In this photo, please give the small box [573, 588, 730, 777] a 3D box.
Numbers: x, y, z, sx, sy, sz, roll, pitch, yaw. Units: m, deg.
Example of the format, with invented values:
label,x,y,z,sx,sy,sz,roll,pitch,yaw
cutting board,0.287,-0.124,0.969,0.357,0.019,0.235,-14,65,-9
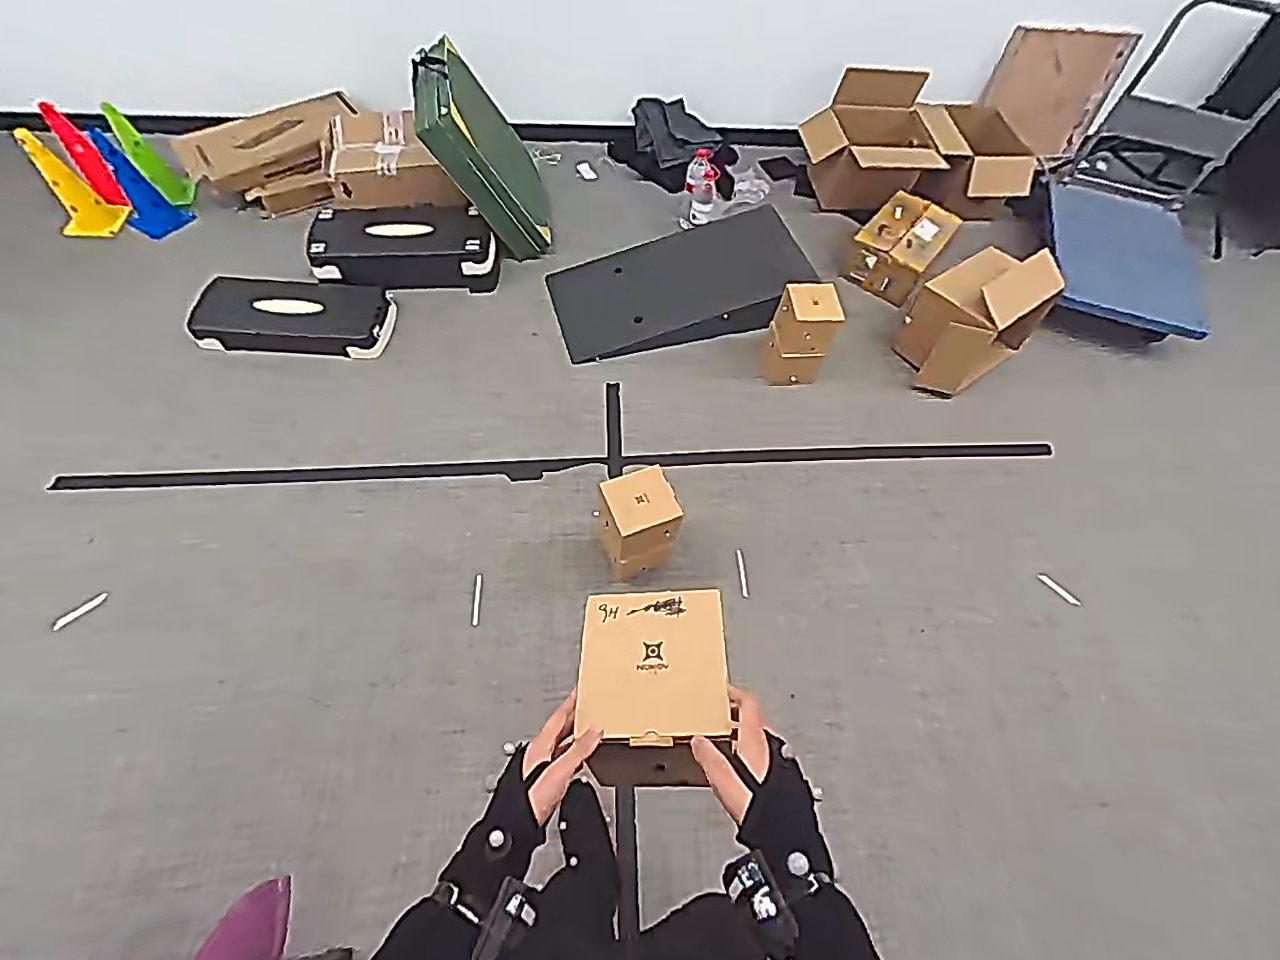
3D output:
label,x,y,z,sx,sy,sz,roll,pitch,yaw
small box,0.023,0.254,0.669,0.168,0.176,0.179,-3,47,6
